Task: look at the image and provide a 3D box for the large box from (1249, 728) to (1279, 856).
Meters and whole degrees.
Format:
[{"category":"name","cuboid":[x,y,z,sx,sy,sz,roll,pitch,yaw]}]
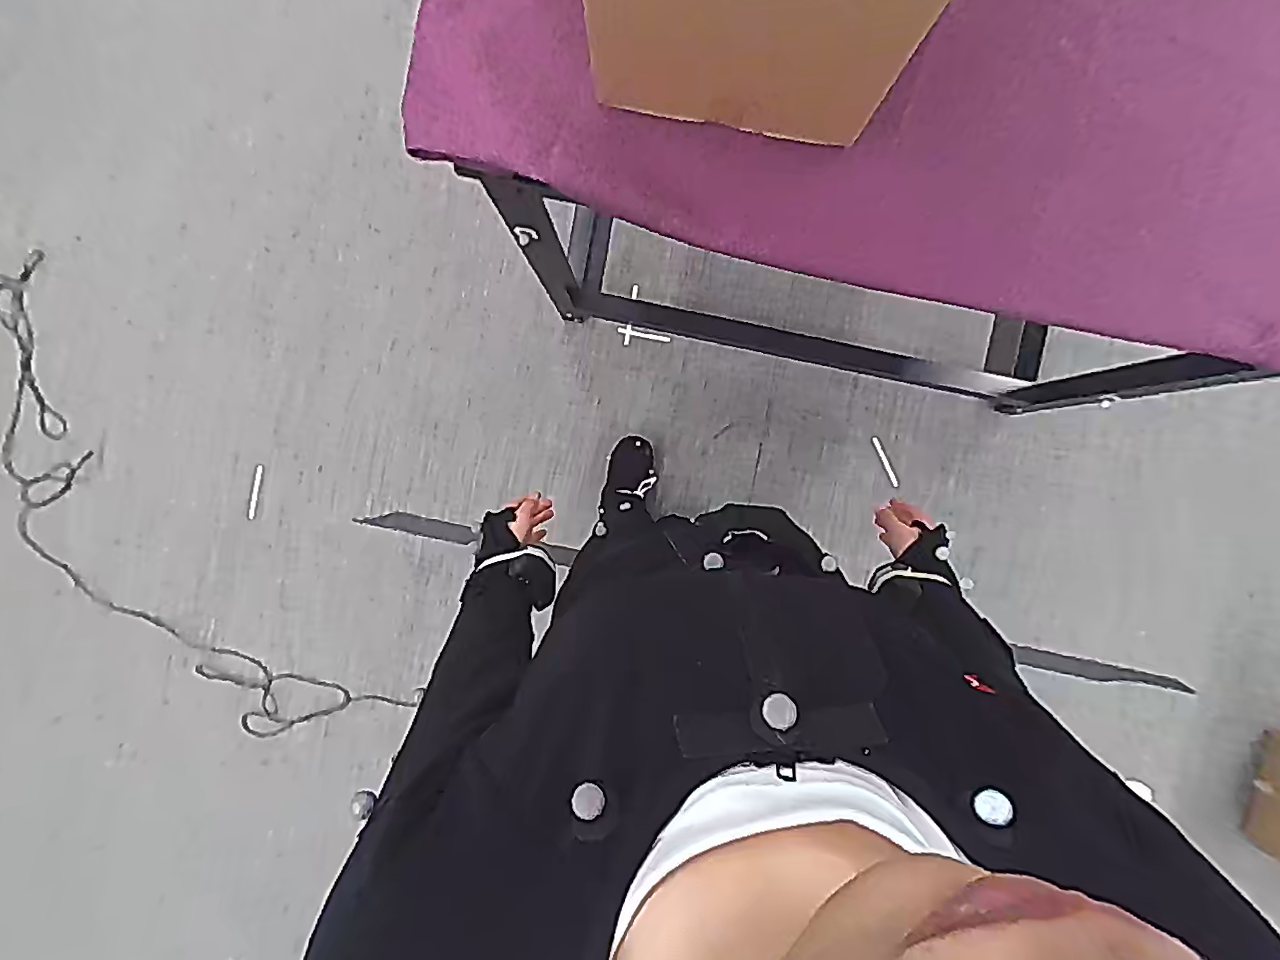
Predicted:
[{"category":"large box","cuboid":[1.796,0.821,1.245,0.408,0.320,0.320,10,92,1]}]
